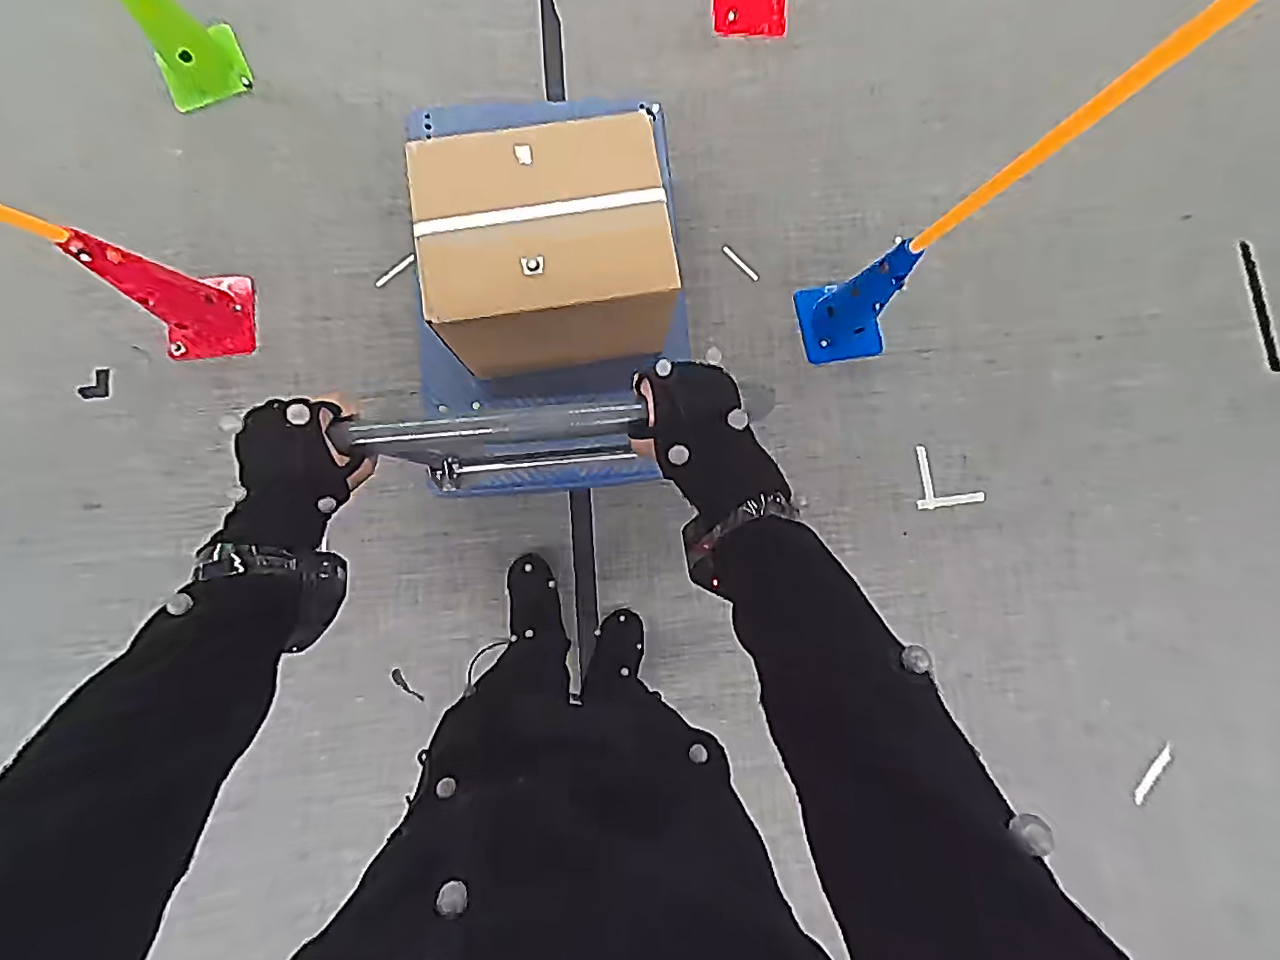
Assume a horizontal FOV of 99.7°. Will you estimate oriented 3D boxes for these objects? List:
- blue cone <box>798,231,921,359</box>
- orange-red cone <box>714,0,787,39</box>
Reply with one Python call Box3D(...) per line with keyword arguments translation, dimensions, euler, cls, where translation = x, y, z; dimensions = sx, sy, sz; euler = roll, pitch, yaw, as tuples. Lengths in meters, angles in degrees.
Box3D(translation=(0.517, -0.426, 1.216), dimensions=(0.193, 0.380, 0.192), euler=(-9, 83, -4), cls="blue cone")
Box3D(translation=(0.312, -1.310, 1.296), dimensions=(0.199, 0.360, 0.198), euler=(2, 84, -3), cls="orange-red cone")
